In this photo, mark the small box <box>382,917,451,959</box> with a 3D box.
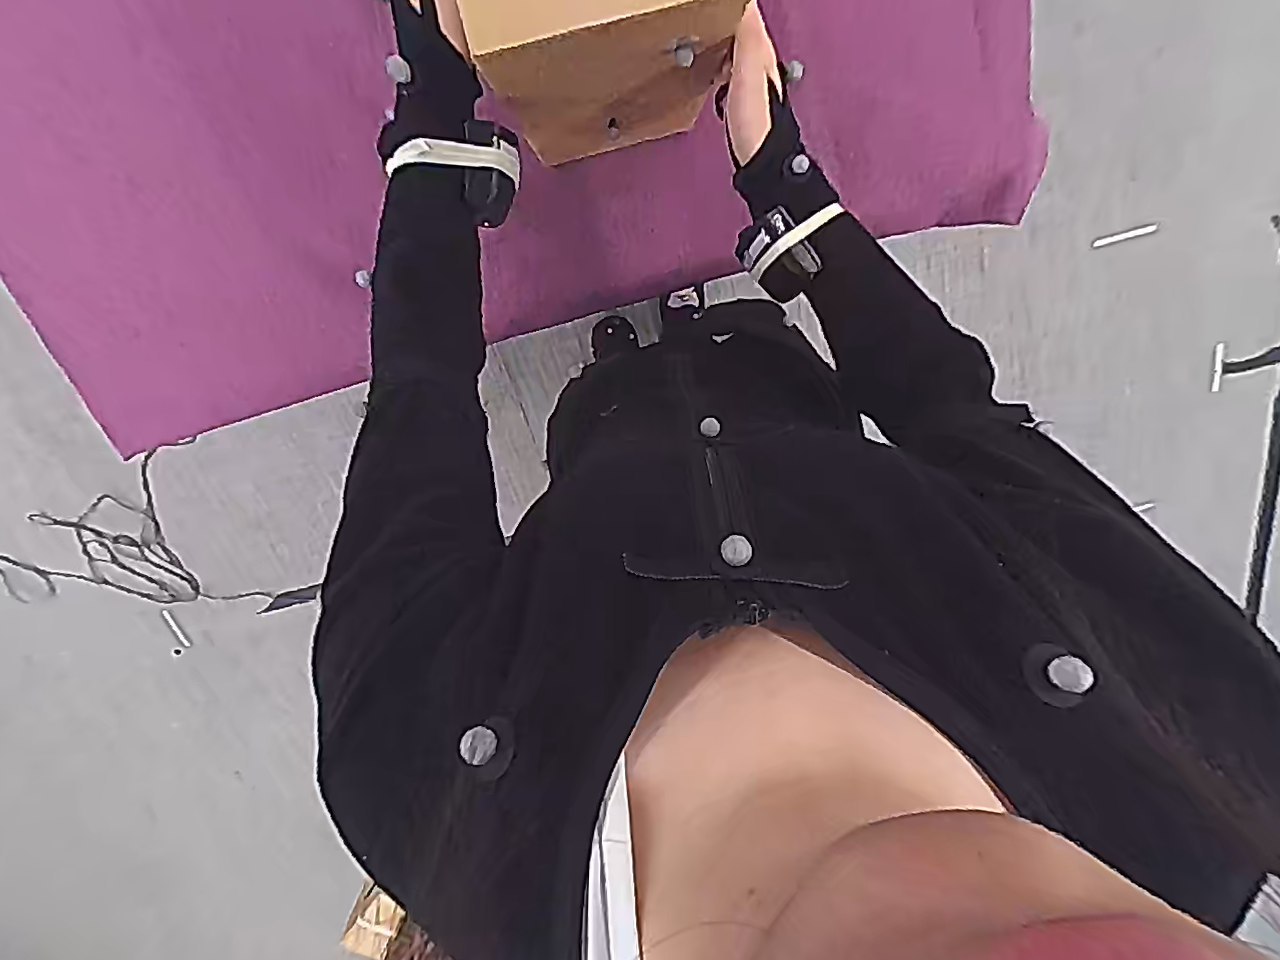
[{"bbox_3d":[-0.720,1.535,1.699,0.168,0.176,0.179,31,106,-12],"label":"small box"}]

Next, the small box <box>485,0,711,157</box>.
[{"bbox_3d":[-0.042,-0.429,0.514,0.179,0.176,0.168,-13,112,3],"label":"small box"}]
